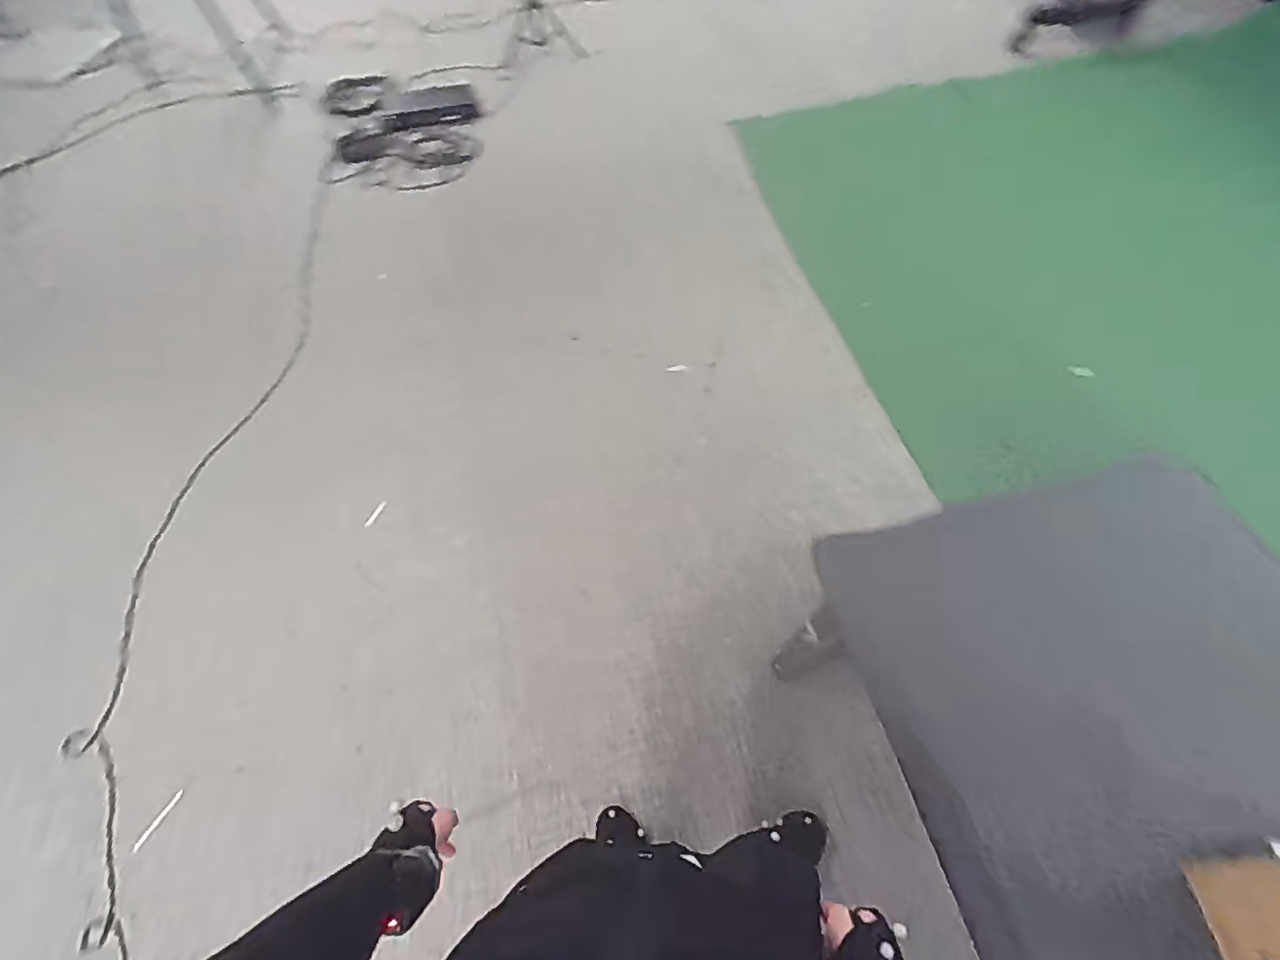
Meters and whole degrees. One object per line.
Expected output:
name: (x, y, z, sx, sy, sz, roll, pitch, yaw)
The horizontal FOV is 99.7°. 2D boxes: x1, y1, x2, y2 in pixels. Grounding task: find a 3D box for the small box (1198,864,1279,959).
small box: (0.703, 0.476, 0.510, 0.179, 0.176, 0.168, -5, 62, 0)
